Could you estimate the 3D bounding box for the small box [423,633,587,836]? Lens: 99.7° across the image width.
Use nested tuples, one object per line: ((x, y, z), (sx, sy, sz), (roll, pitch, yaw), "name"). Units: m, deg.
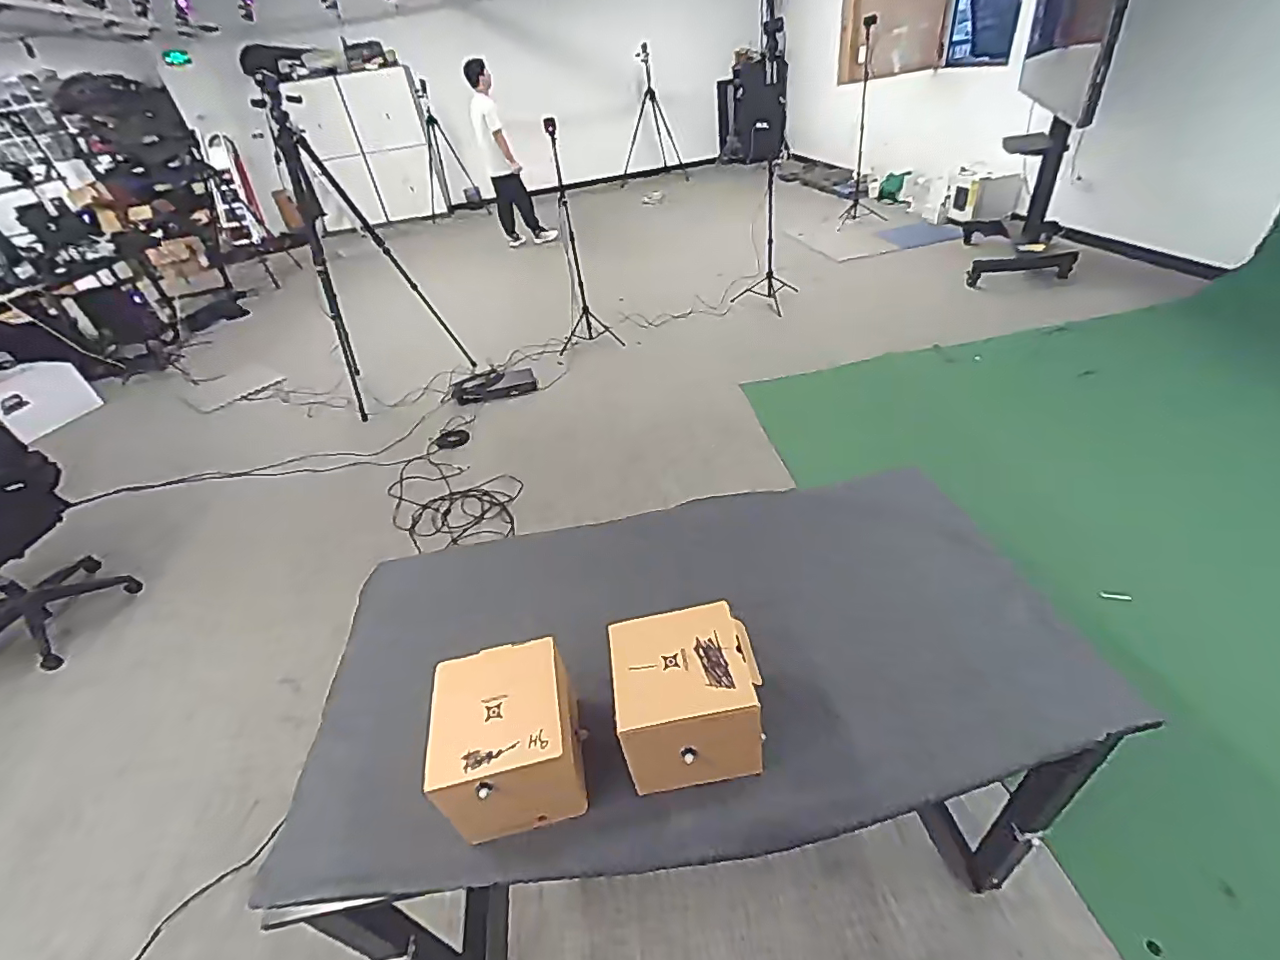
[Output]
((-0.174, 0.346, 0.742), (0.168, 0.176, 0.179), (-13, 38, -3), "small box")
